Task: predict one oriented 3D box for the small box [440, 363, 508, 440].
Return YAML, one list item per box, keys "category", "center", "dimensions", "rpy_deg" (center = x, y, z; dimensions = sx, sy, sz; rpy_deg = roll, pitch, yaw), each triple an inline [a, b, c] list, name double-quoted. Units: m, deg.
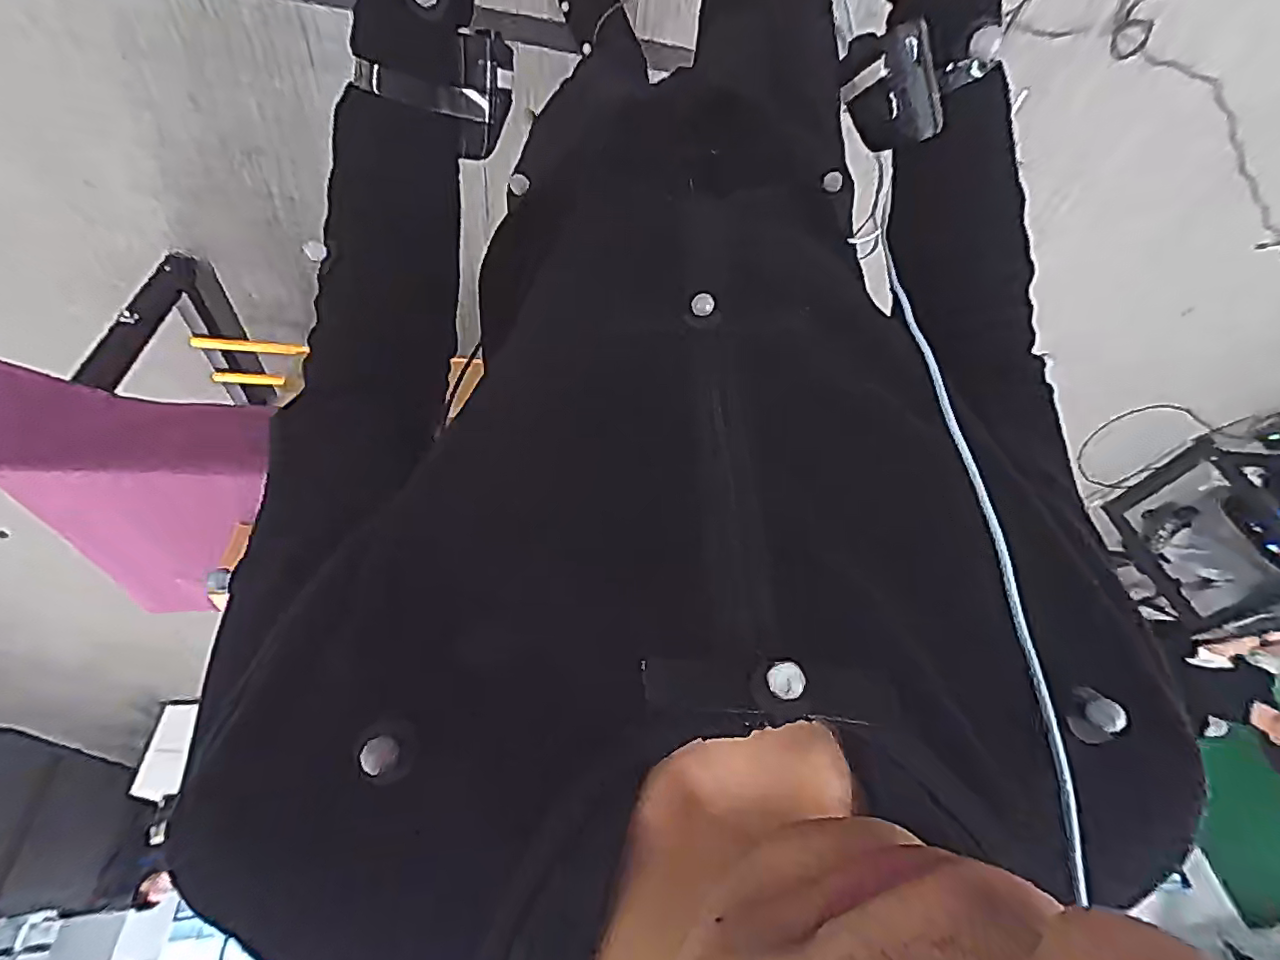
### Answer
- category: "small box"
  center: [-0.498, -0.241, 1.648]
  dimensions: [0.179, 0.176, 0.168]
  rpy_deg: [2, 143, -7]
